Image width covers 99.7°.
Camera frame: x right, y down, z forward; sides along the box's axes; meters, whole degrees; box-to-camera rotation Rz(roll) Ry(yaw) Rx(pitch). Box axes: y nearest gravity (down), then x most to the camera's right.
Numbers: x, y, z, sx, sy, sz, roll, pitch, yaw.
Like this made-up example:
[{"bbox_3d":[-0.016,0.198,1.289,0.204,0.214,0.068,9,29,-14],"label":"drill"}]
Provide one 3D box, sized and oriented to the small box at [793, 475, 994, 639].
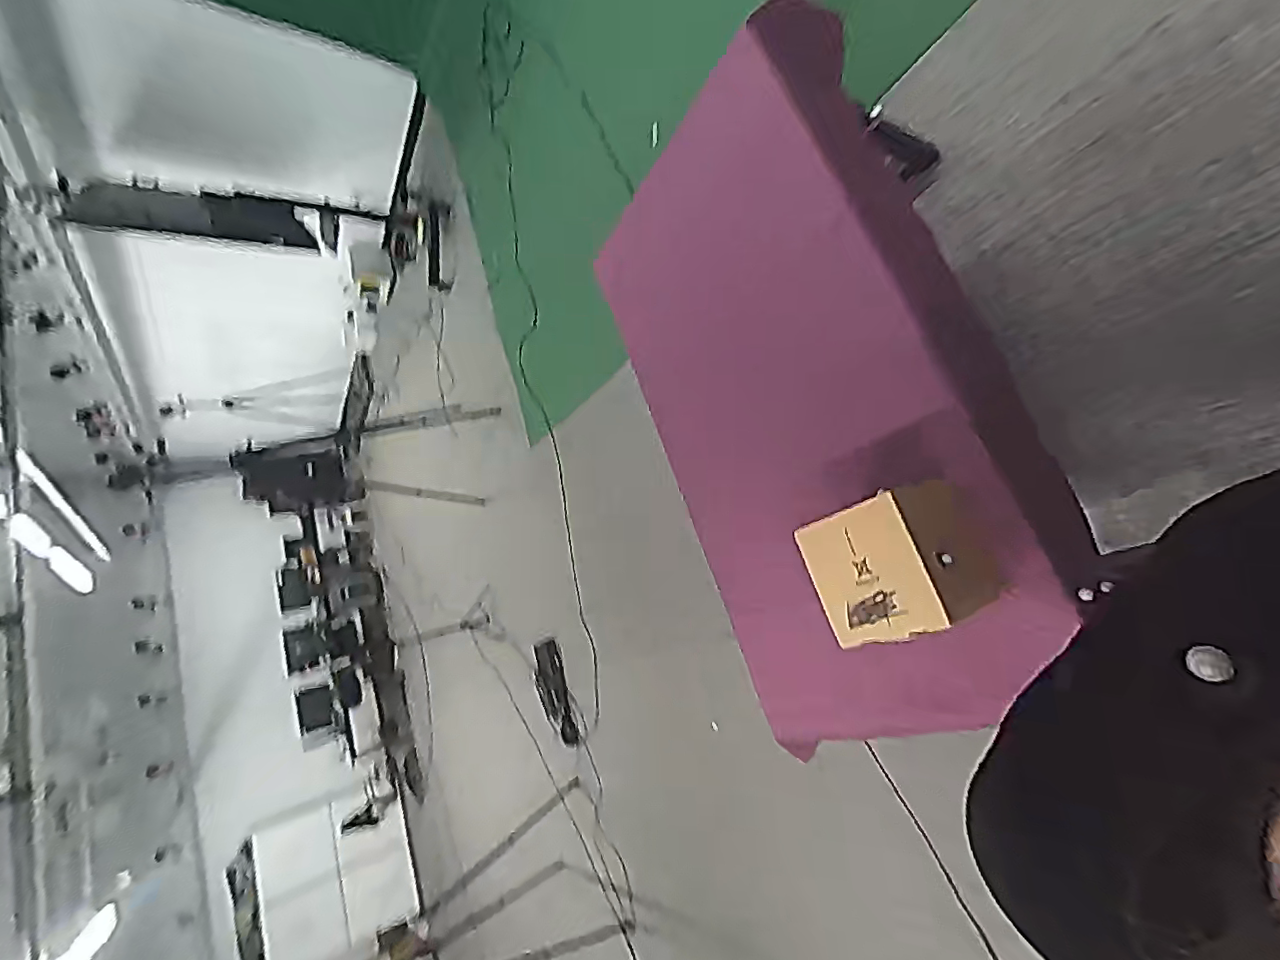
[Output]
[{"bbox_3d":[0.360,0.107,0.771,0.168,0.176,0.179,-37,67,50],"label":"small box"}]
